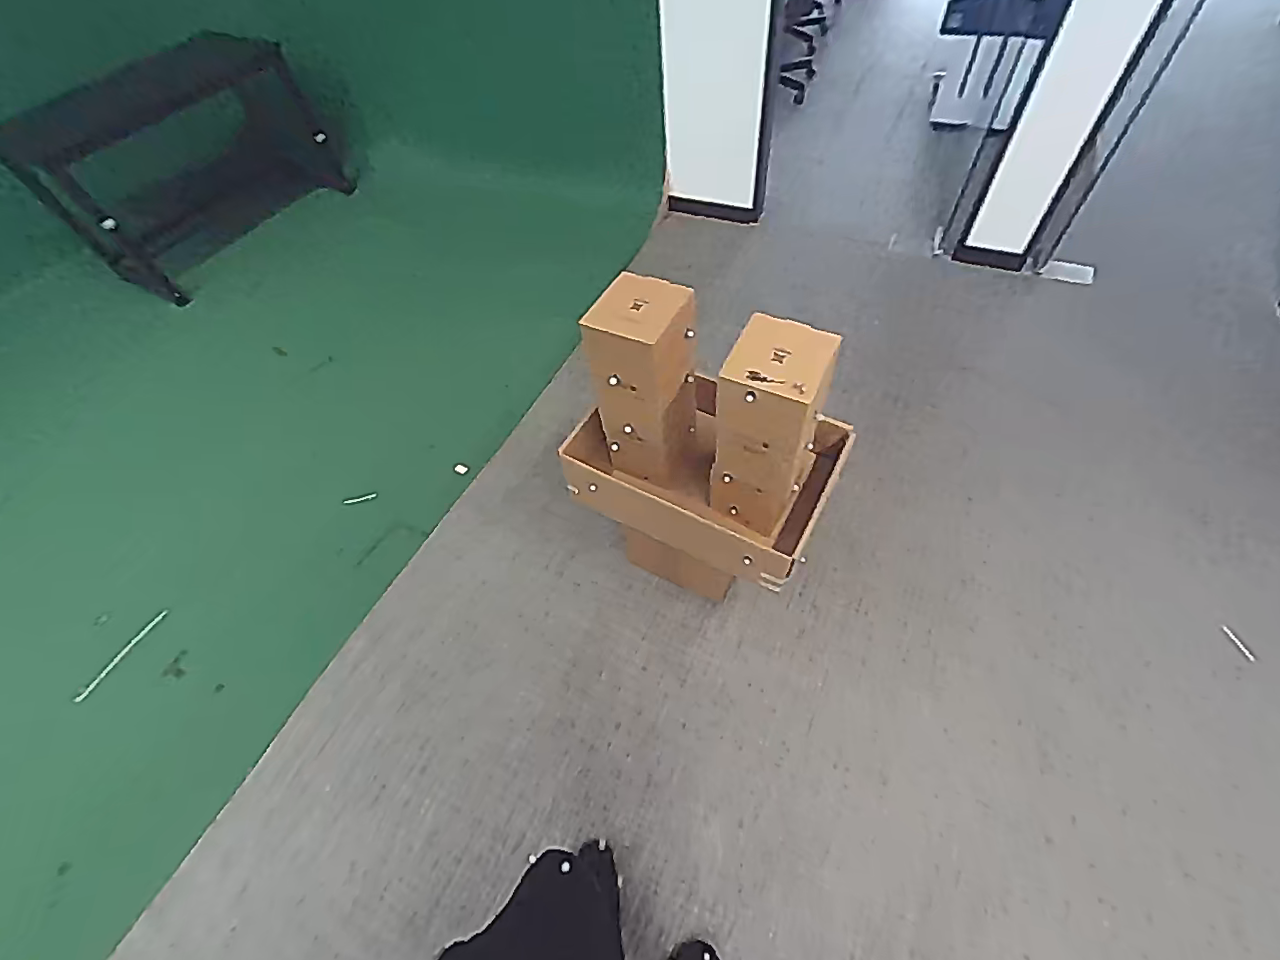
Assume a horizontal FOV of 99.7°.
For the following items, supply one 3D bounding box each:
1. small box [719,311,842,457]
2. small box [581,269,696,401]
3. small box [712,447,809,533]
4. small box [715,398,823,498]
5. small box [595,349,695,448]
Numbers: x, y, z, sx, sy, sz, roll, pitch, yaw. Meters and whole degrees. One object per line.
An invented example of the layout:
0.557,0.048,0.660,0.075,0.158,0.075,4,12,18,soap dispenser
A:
0.252,-0.176,1.006,0.168,0.176,0.179,22,61,19,small box
0.003,-0.295,1.109,0.168,0.176,0.179,22,61,20,small box
0.278,-0.007,1.286,0.168,0.176,0.179,26,63,20,small box
0.268,-0.089,1.144,0.168,0.176,0.179,22,61,18,small box
0.017,-0.207,1.245,0.168,0.176,0.179,22,61,19,small box
